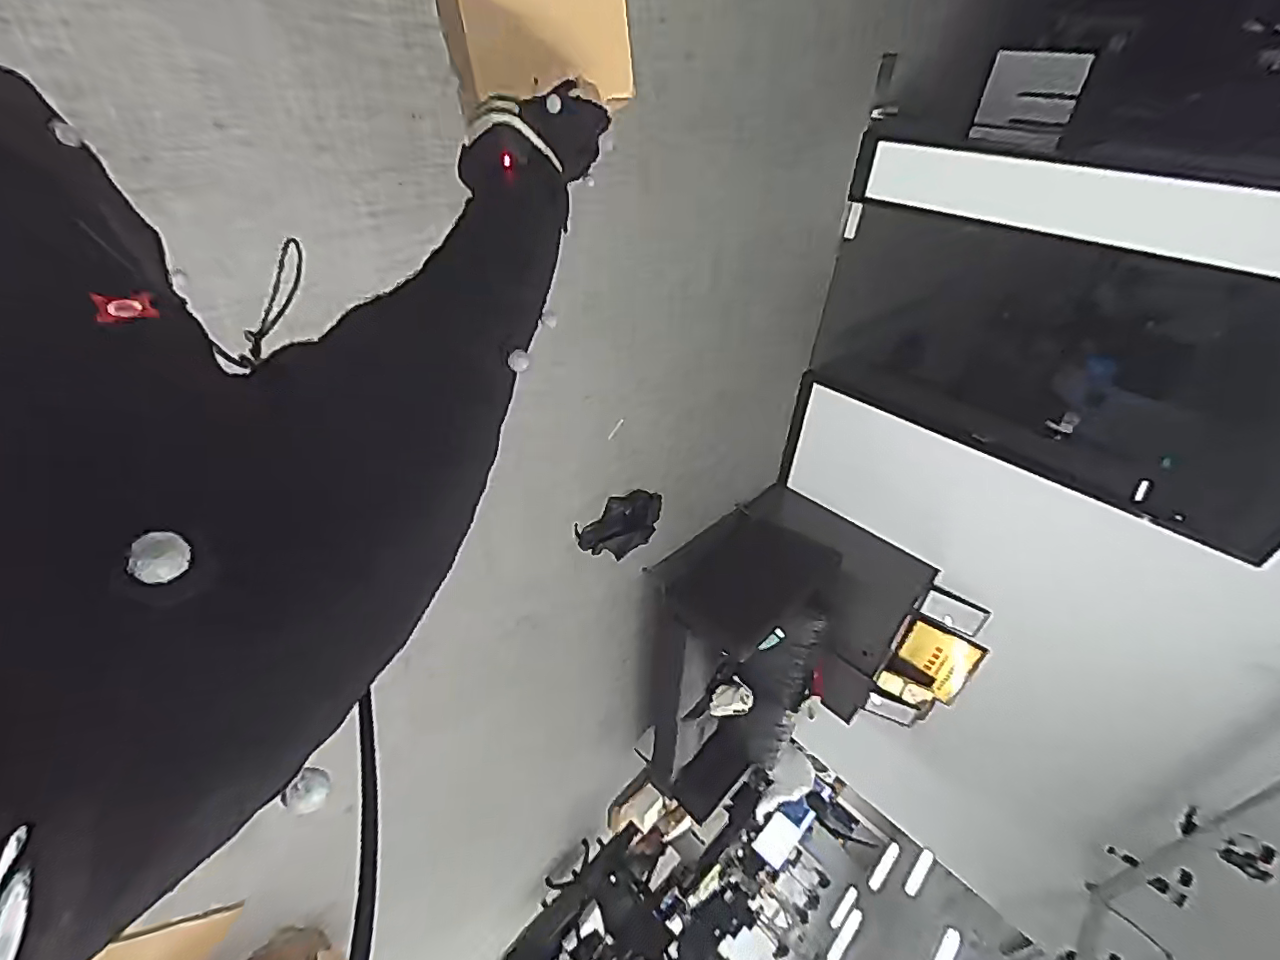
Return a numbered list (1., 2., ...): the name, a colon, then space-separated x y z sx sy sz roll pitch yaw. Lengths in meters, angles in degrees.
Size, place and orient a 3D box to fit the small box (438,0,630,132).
1. small box: -0.122 -0.495 0.590 0.168 0.179 0.176 -17 120 -14
